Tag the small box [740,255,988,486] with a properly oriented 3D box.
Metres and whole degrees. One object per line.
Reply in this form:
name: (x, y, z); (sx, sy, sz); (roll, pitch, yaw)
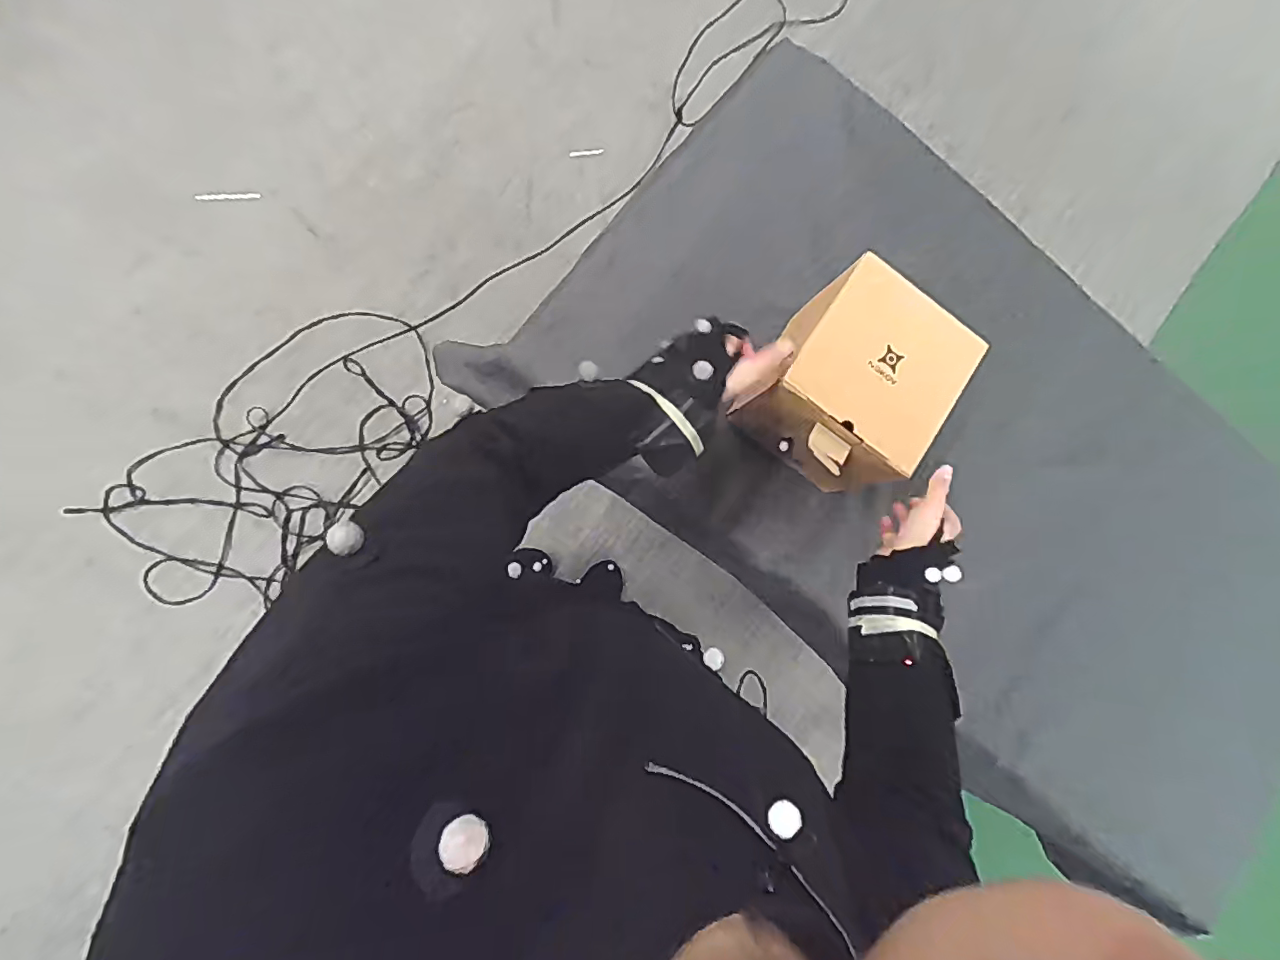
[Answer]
small box: (0.243, -0.110, 0.627); (0.168, 0.176, 0.179); (35, 80, -5)
